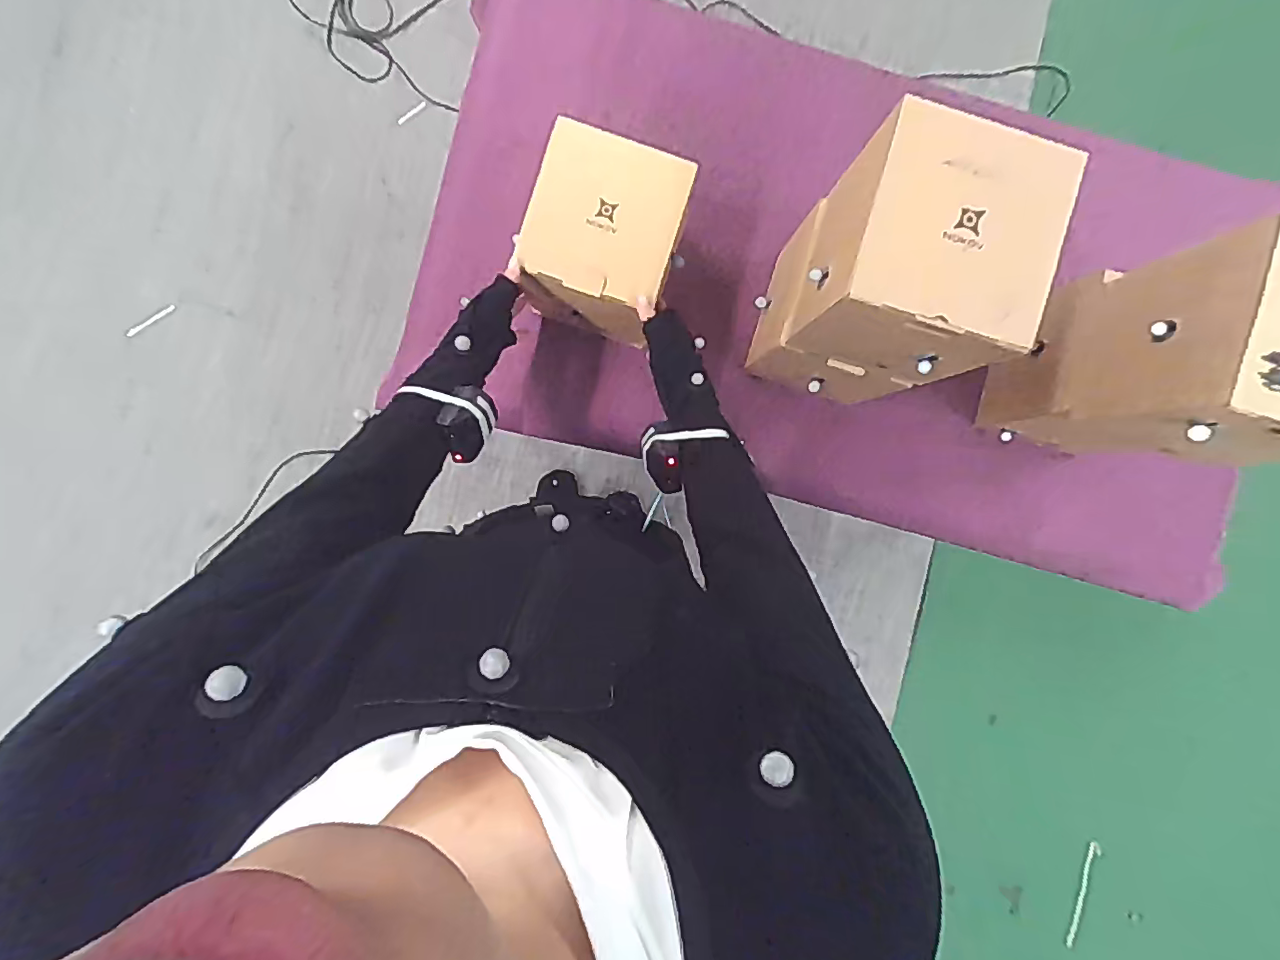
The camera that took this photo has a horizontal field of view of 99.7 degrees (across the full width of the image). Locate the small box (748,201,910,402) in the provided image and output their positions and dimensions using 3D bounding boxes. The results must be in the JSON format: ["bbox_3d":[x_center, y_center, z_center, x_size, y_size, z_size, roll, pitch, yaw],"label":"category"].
[{"bbox_3d":[0.250,-0.209,0.688,0.168,0.176,0.179,17,91,-4],"label":"small box"}]

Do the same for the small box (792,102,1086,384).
[{"bbox_3d":[0.266,-0.205,0.526,0.168,0.176,0.179,17,90,-3],"label":"small box"}]

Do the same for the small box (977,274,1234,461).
[{"bbox_3d":[0.583,-0.132,0.705,0.168,0.176,0.179,18,91,-5],"label":"small box"}]

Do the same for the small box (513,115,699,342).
[{"bbox_3d":[-0.042,-0.293,0.673,0.168,0.176,0.179,18,91,-3],"label":"small box"}]
